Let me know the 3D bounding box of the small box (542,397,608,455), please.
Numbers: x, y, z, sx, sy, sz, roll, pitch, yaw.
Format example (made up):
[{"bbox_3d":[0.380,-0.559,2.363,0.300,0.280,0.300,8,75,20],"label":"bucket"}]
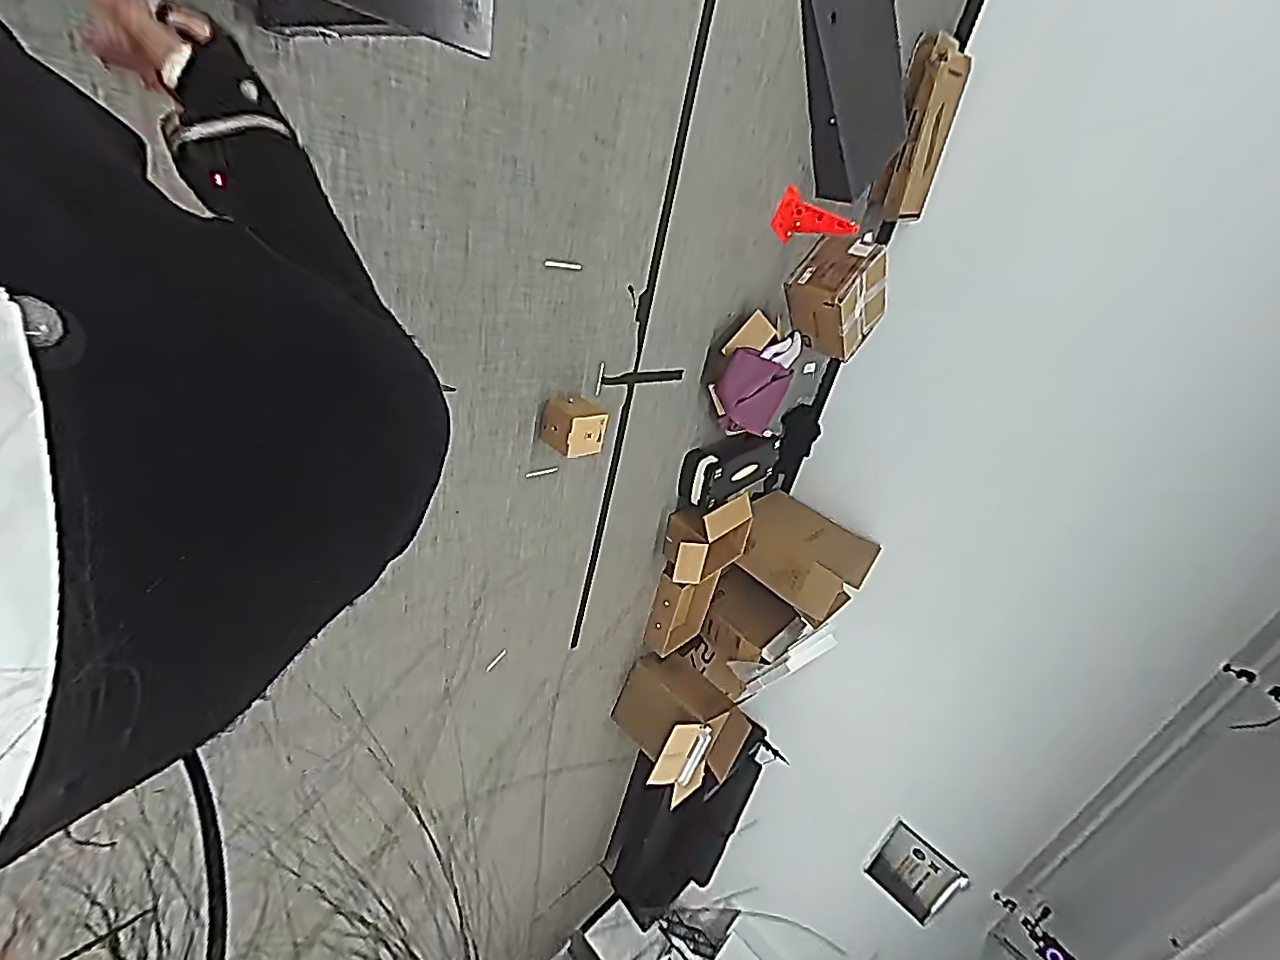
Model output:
[{"bbox_3d":[-0.254,-0.211,2.070,0.179,0.176,0.168,-13,128,-45],"label":"small box"}]
